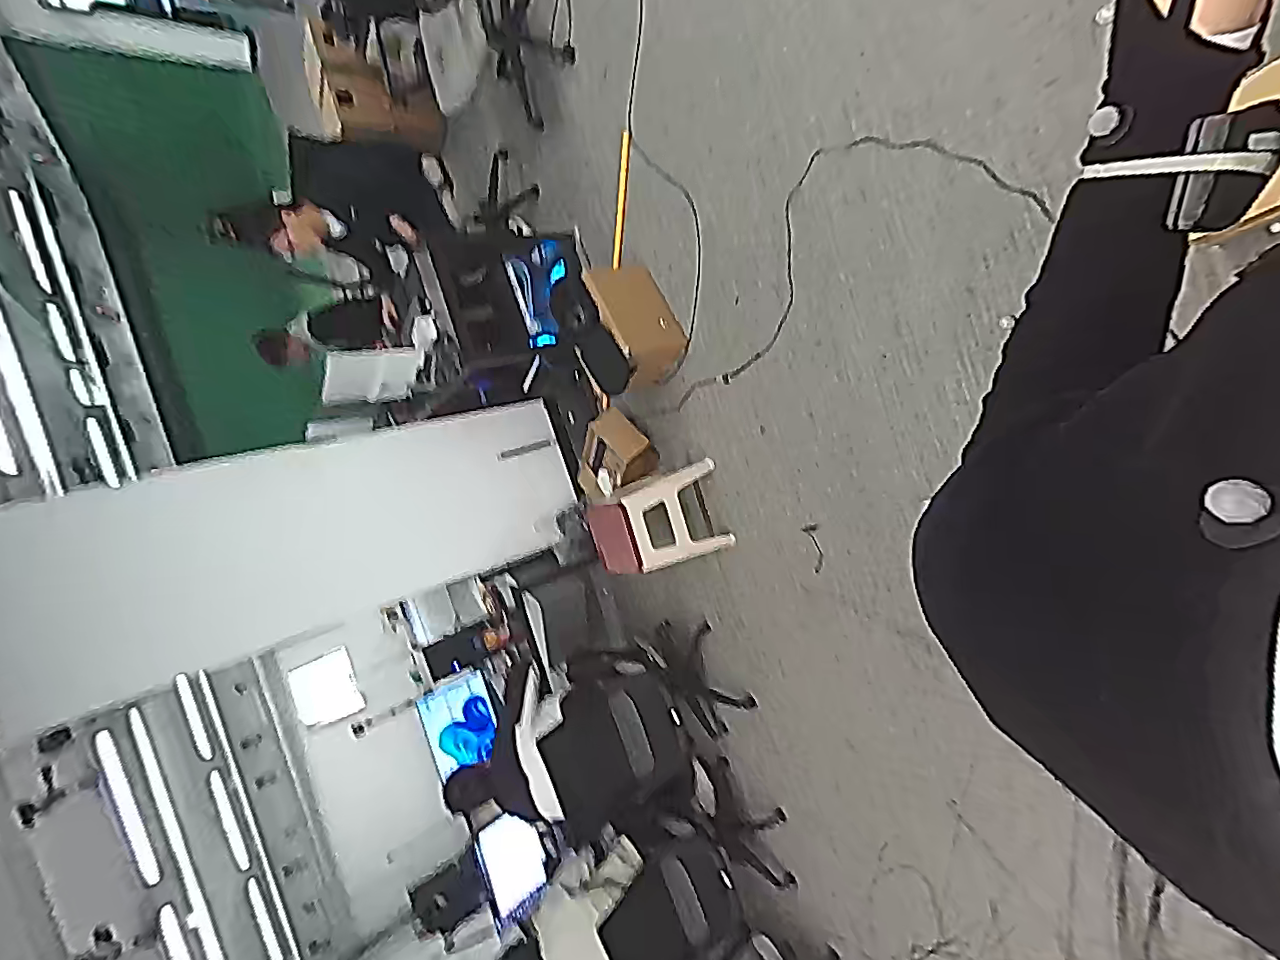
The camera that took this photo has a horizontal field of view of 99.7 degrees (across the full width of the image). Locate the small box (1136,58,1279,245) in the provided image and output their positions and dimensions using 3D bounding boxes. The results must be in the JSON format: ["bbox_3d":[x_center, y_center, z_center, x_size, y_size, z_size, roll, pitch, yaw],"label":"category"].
[{"bbox_3d":[0.899,-0.477,0.807,0.168,0.176,0.179,-26,82,55],"label":"small box"}]

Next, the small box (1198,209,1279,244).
[{"bbox_3d":[1.029,-0.514,0.896,0.168,0.176,0.179,-21,88,56],"label":"small box"}]
